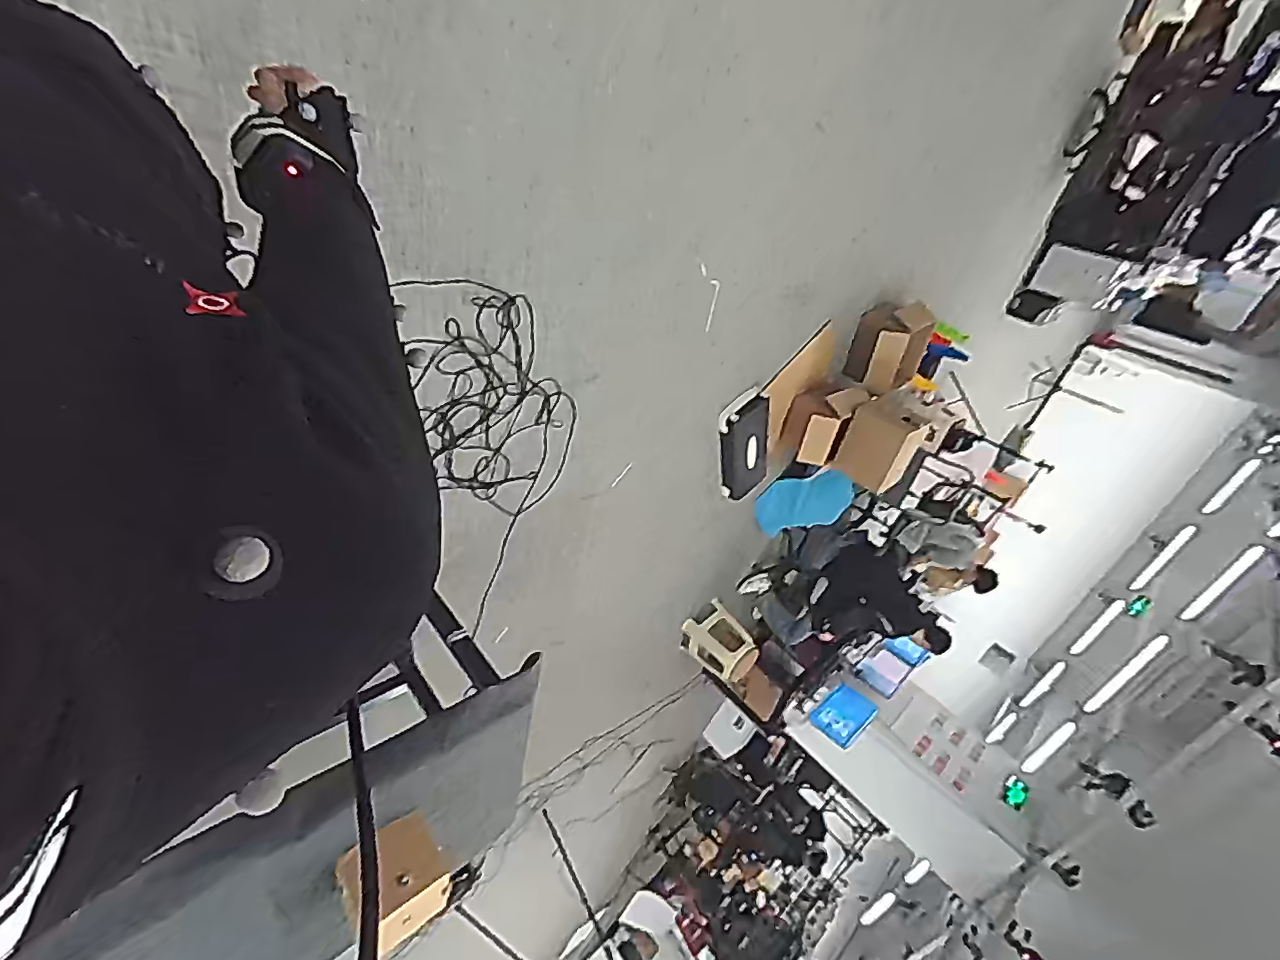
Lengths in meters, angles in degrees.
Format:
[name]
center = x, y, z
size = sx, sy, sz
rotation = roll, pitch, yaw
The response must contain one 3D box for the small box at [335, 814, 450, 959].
[small box]
center = -0.537, 0.876, 1.172
size = 0.179, 0.176, 0.168
rotation = -15, 131, -42
